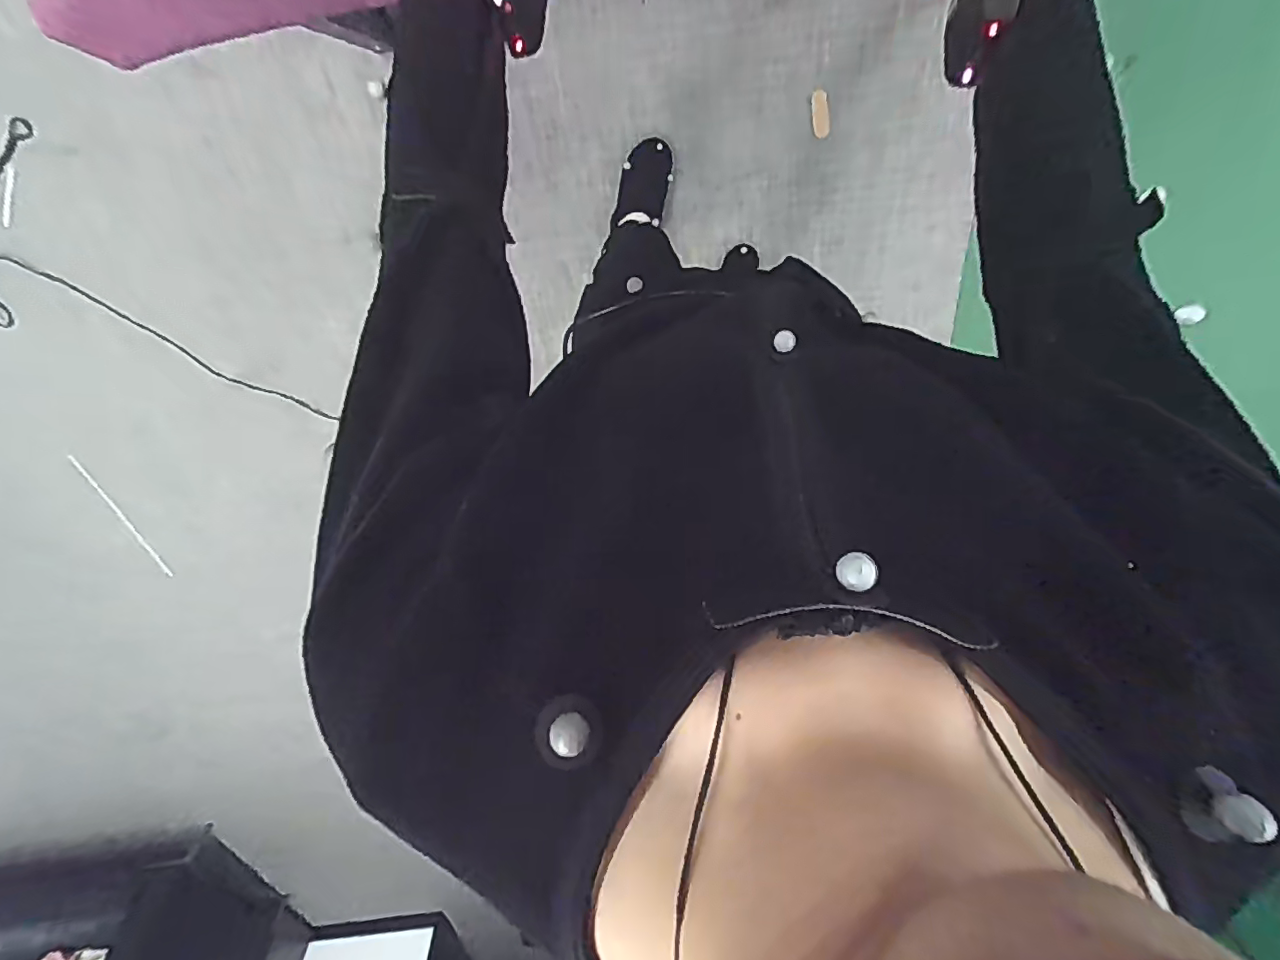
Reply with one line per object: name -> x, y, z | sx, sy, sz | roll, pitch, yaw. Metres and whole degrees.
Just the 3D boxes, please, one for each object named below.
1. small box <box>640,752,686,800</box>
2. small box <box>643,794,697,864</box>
small box -> 0.093, 1.213, 2.166 | 0.168, 0.176, 0.179 | -9, 122, 4
small box -> 0.110, 1.306, 2.031 | 0.179, 0.176, 0.168 | -9, 123, 3
